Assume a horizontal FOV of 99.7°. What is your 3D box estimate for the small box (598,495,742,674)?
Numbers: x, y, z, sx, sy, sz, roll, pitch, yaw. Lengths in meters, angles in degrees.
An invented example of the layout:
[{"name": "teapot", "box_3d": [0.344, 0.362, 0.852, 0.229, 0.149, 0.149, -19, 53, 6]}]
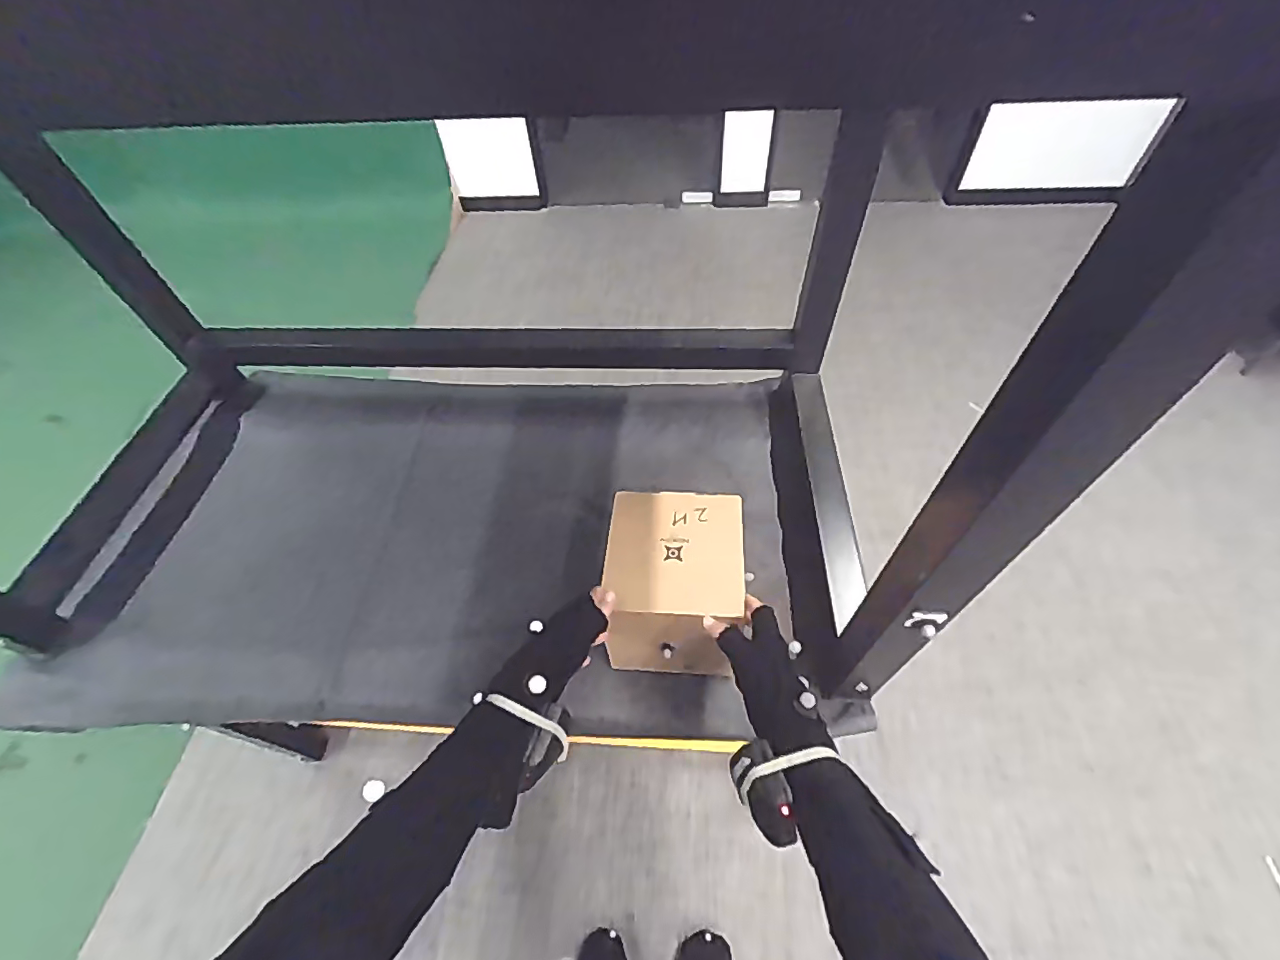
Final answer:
[{"name": "small box", "box_3d": [0.046, 0.140, 0.713, 0.168, 0.176, 0.179, 2, 49, 6]}]
